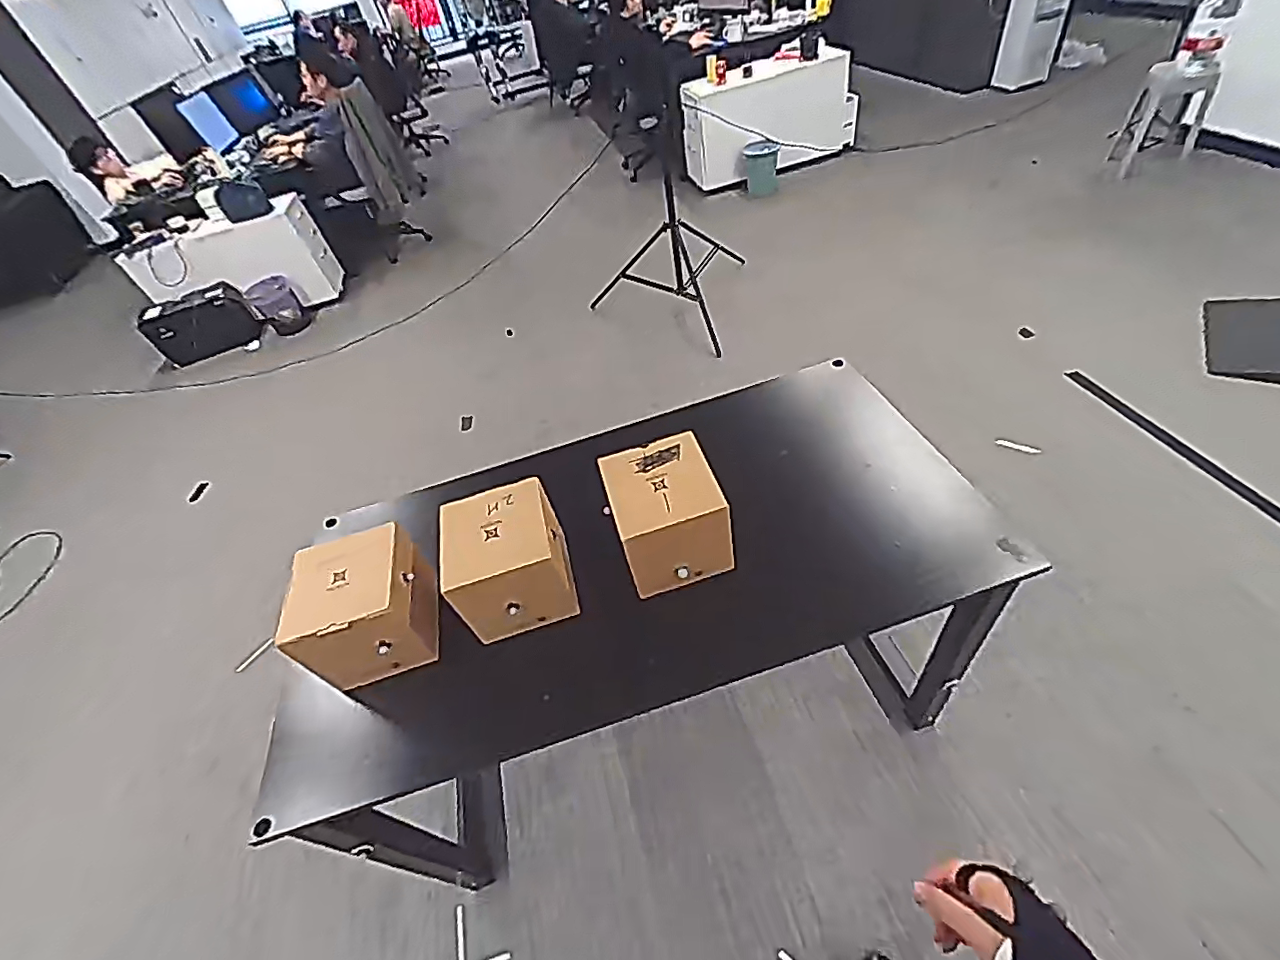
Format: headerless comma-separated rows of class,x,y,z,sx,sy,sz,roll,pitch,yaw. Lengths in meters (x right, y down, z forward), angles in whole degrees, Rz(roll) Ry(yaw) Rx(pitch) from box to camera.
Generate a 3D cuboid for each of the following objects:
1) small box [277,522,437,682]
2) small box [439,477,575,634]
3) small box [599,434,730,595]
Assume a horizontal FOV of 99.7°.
small box,-0.442,0.204,0.877,0.168,0.176,0.179,-17,45,-5
small box,-0.213,0.131,0.887,0.168,0.176,0.179,-17,46,-3
small box,0.042,0.058,0.893,0.168,0.176,0.179,-17,47,-3
